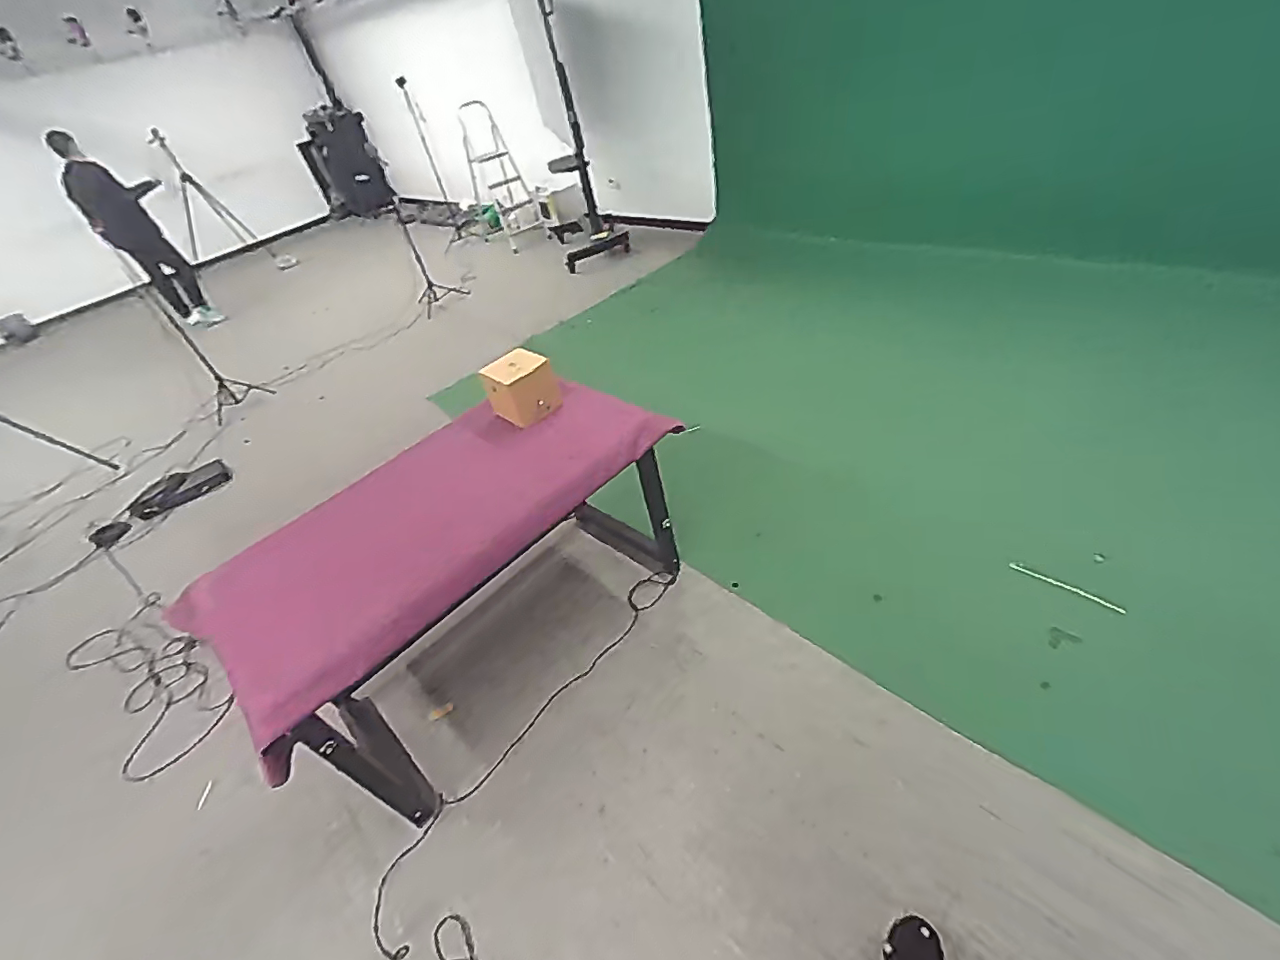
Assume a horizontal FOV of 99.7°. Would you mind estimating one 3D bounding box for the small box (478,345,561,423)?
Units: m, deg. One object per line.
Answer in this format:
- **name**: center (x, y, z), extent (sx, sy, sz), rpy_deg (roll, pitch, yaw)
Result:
- **small box**: center (-0.382, -0.307, 1.736), extent (0.168, 0.176, 0.179), rpy_deg (-40, 47, -25)
